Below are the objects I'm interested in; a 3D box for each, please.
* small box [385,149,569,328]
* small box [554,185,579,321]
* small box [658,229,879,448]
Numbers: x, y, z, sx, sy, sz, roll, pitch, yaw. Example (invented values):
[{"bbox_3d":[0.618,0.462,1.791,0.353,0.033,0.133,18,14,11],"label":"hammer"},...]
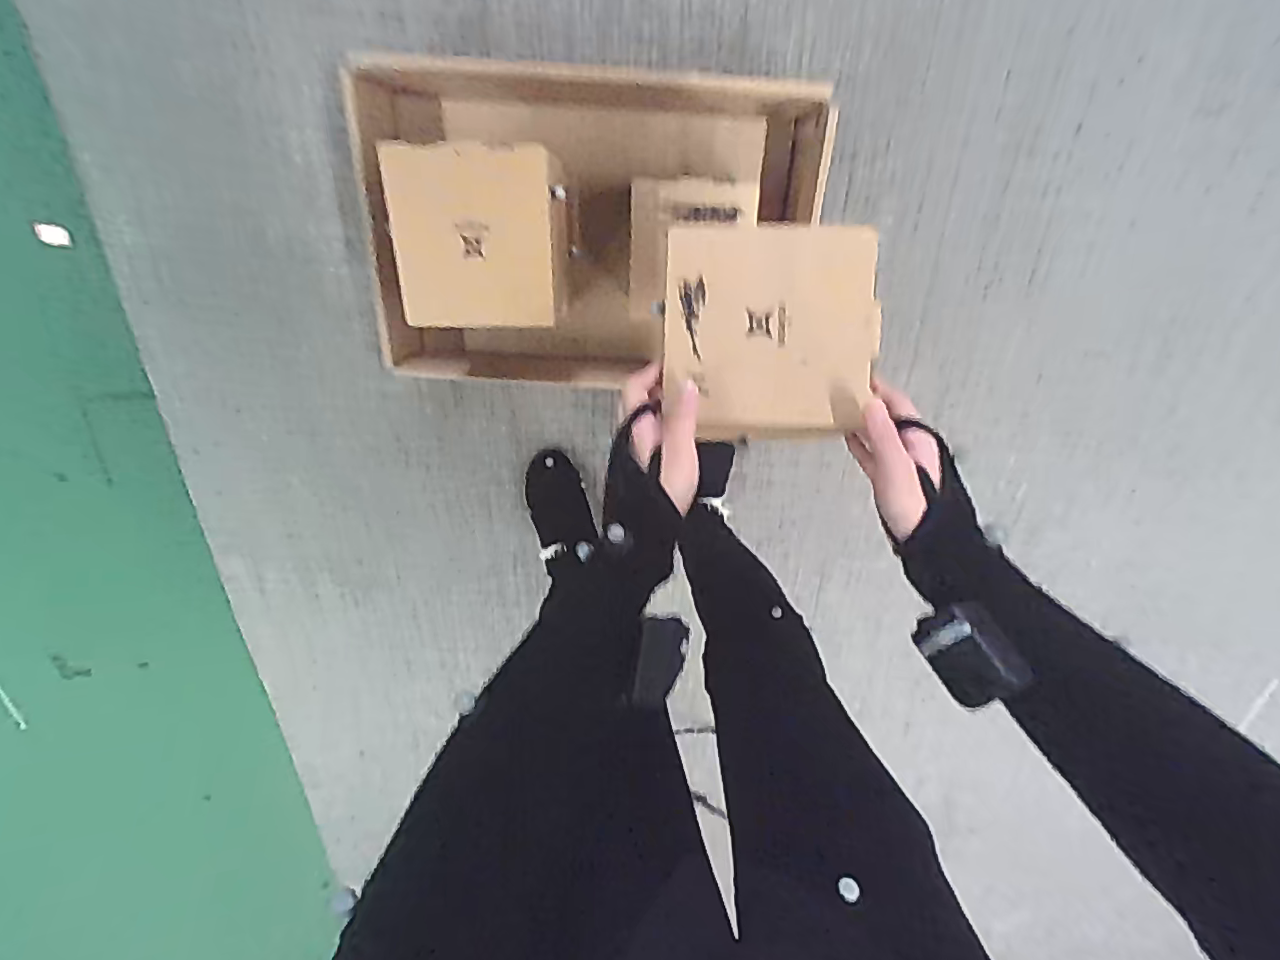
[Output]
[{"bbox_3d":[-0.177,-0.286,0.650,0.168,0.176,0.179,0,115,-2],"label":"small box"},{"bbox_3d":[-0.179,-0.341,0.803,0.168,0.176,0.179,1,115,-2],"label":"small box"},{"bbox_3d":[0.109,-0.121,0.525,0.179,0.176,0.168,2,88,2],"label":"small box"}]
